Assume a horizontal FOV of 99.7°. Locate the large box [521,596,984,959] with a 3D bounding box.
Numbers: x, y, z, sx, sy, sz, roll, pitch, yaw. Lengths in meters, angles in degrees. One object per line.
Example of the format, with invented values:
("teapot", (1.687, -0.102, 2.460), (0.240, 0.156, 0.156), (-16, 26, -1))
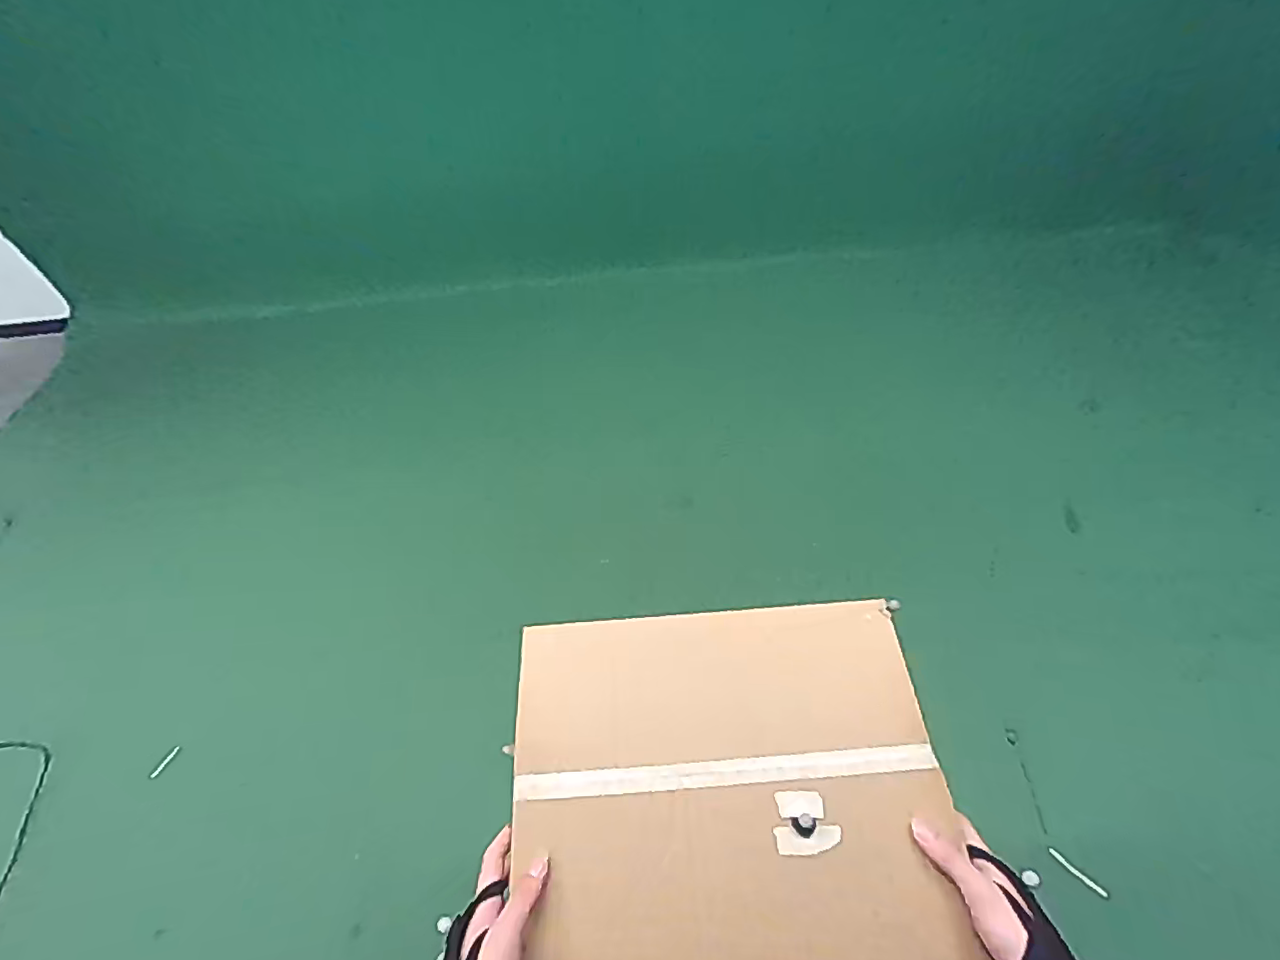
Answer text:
("large box", (0.089, 0.359, 0.658), (0.408, 0.320, 0.320), (-5, 59, 0))
